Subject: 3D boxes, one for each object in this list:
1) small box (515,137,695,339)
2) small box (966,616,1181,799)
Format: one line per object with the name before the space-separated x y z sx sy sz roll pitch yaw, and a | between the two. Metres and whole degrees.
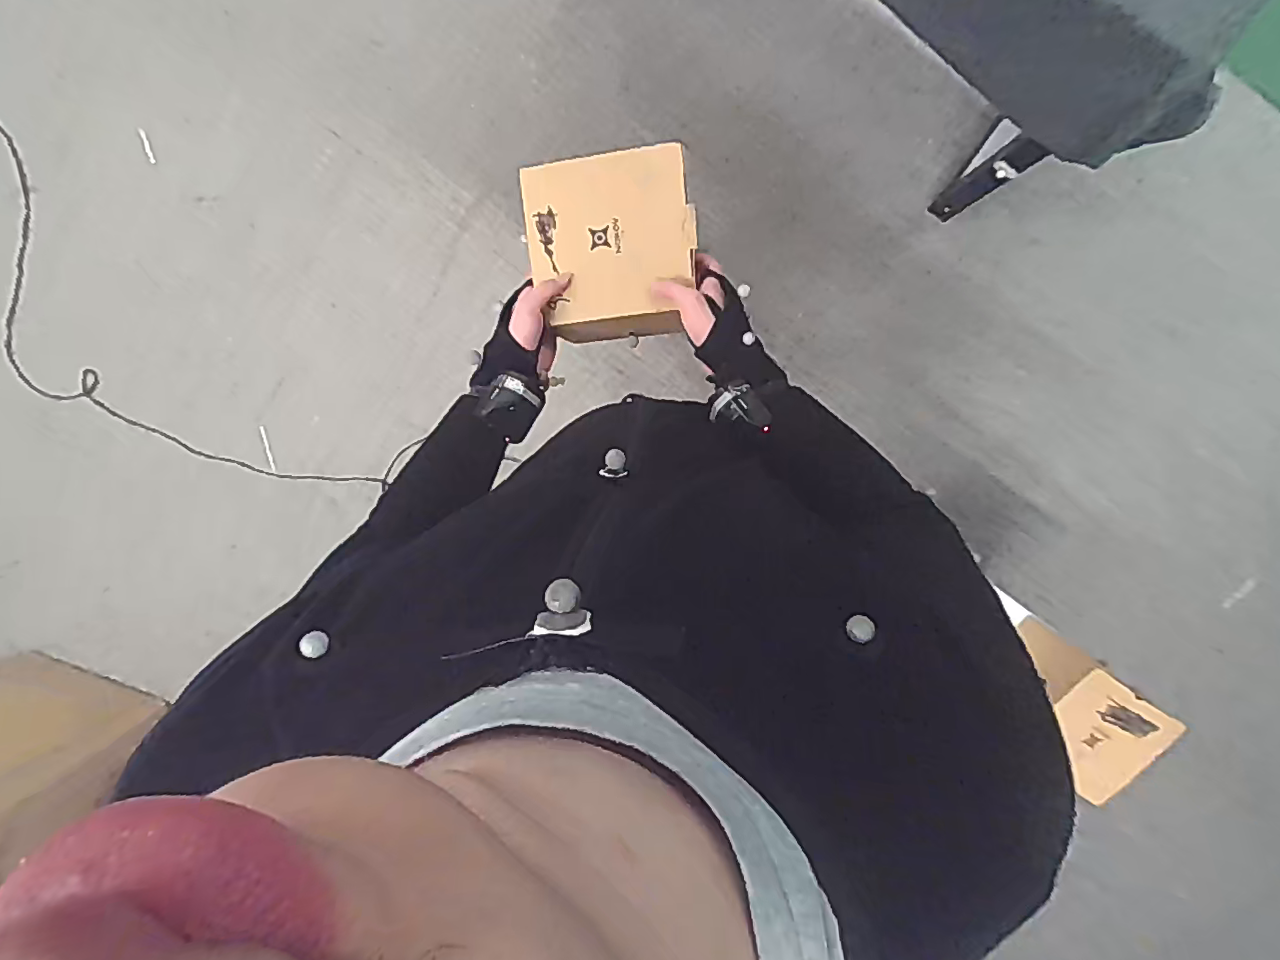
small box | -0.030 -0.267 0.637 0.179 0.176 0.168 -5 96 7
small box | 0.678 0.355 0.875 0.168 0.176 0.179 35 104 -2
